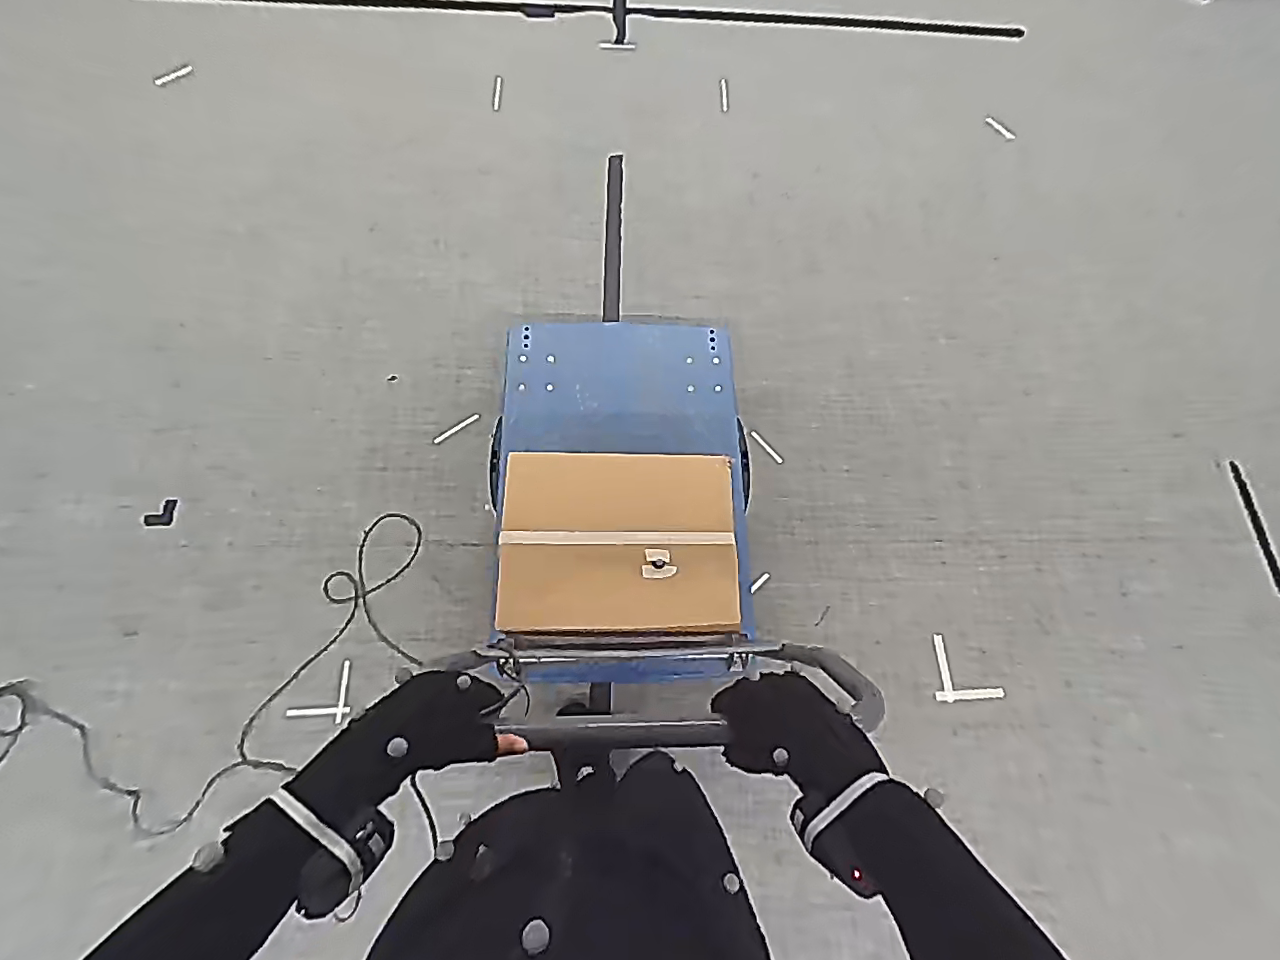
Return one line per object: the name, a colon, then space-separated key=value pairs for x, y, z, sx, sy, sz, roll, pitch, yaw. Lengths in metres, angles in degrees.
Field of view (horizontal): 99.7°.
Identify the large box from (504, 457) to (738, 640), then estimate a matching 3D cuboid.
large box: x=-0.045 y=0.154 z=1.094 sx=0.408 sy=0.320 sz=0.320 roll=1 pitch=72 yaw=-4
